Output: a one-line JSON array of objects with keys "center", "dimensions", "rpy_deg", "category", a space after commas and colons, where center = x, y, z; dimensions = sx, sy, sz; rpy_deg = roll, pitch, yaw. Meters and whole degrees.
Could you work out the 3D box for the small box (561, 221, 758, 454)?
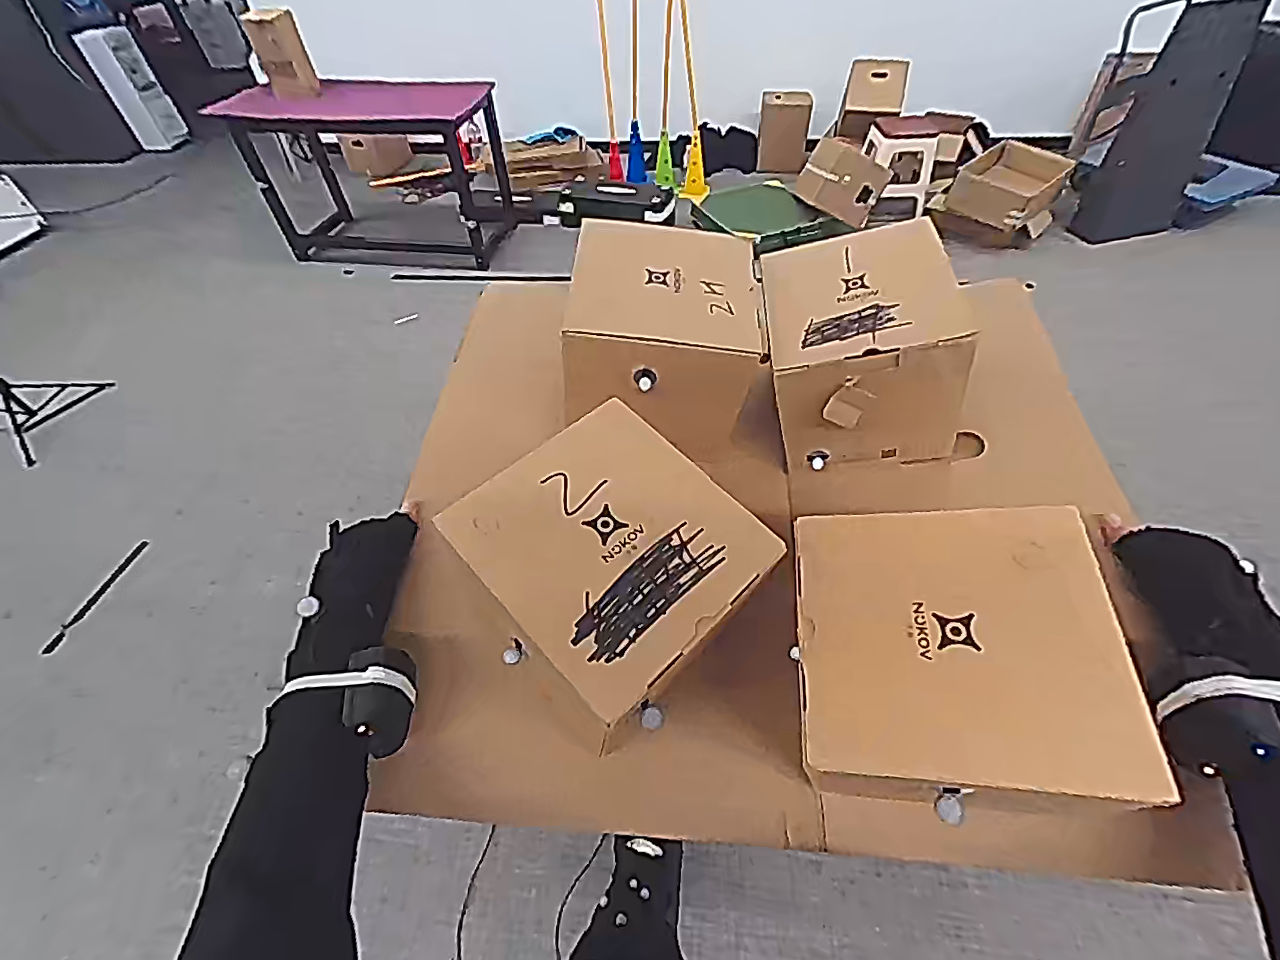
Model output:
[{"center": [0.016, -0.144, 0.577], "dimensions": [0.179, 0.176, 0.168], "rpy_deg": [6, 58, -3], "category": "small box"}]
